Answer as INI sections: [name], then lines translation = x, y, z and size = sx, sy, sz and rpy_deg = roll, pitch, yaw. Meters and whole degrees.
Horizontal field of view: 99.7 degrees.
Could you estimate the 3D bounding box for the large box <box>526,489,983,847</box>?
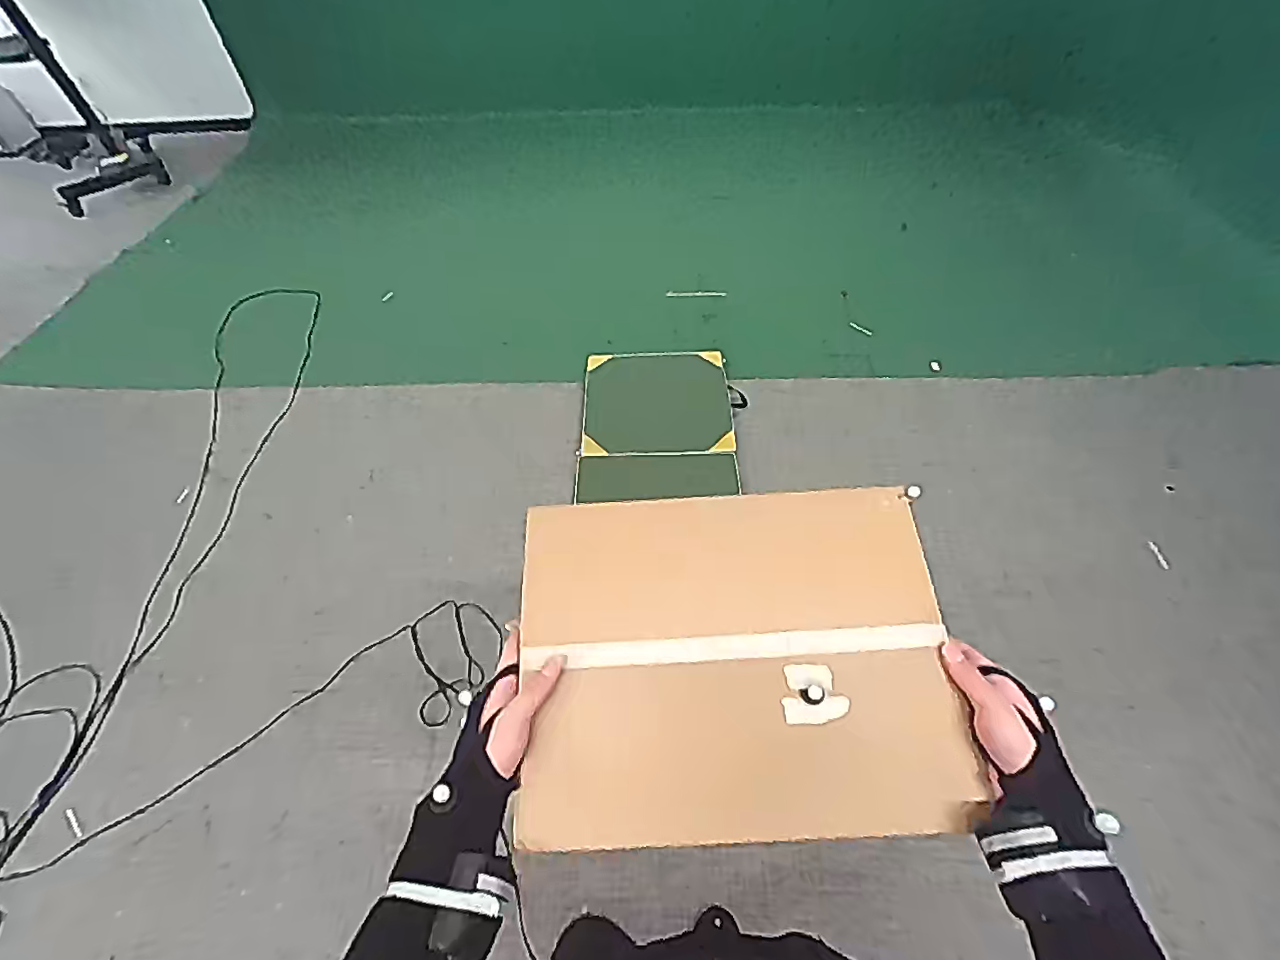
[large box]
translation = 0.092, 0.226, 0.660
size = 0.408, 0.320, 0.320
rpy_deg = -4, 65, 0
